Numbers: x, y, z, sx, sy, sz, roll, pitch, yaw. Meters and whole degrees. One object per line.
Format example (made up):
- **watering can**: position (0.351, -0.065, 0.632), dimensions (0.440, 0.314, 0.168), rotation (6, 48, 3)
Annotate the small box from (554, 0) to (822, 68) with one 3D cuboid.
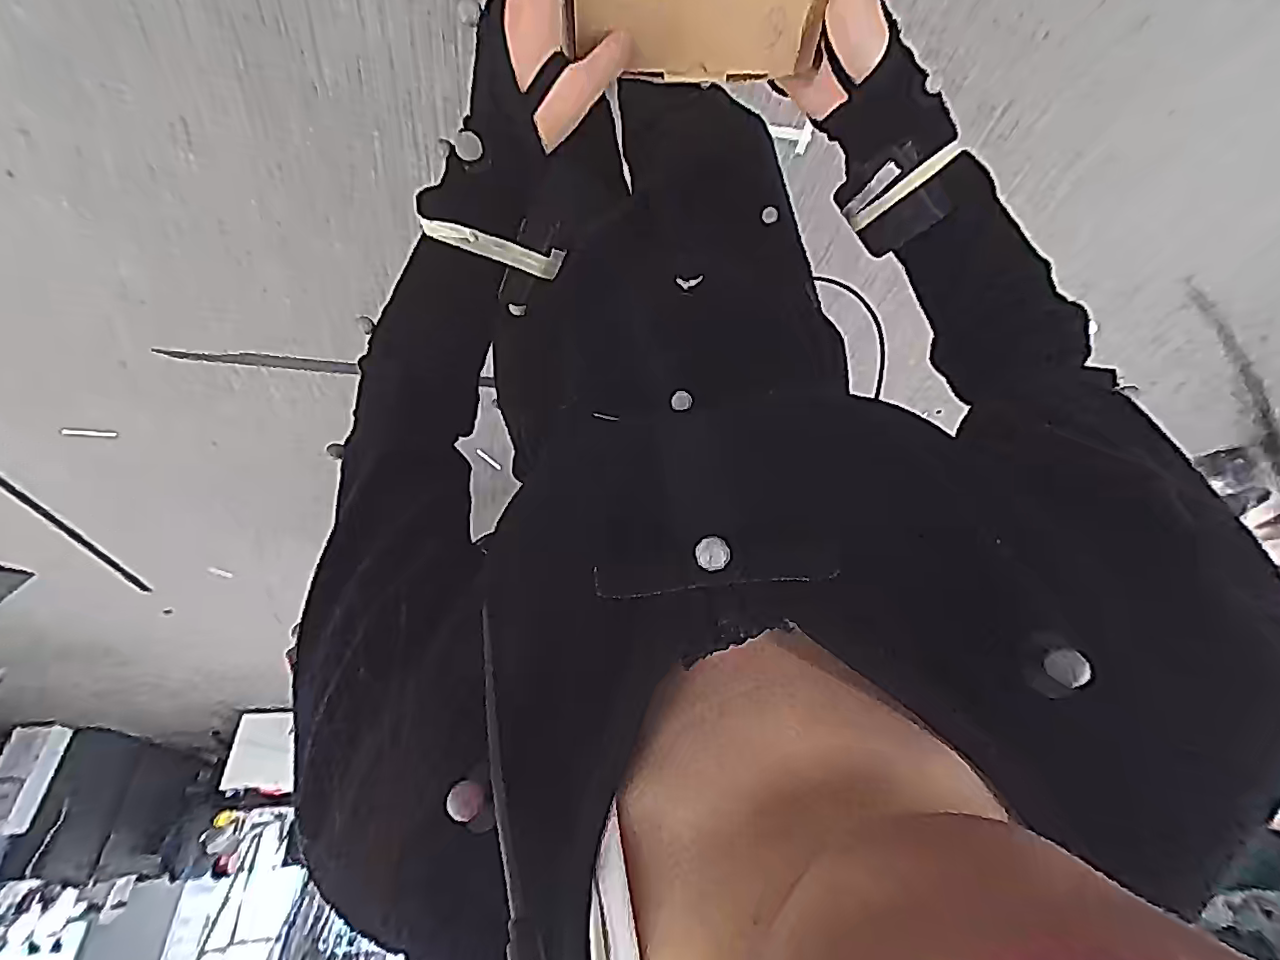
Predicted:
- **small box**: position (0.025, -0.394, 0.347), dimensions (0.168, 0.176, 0.179), rotation (-7, 140, -10)
